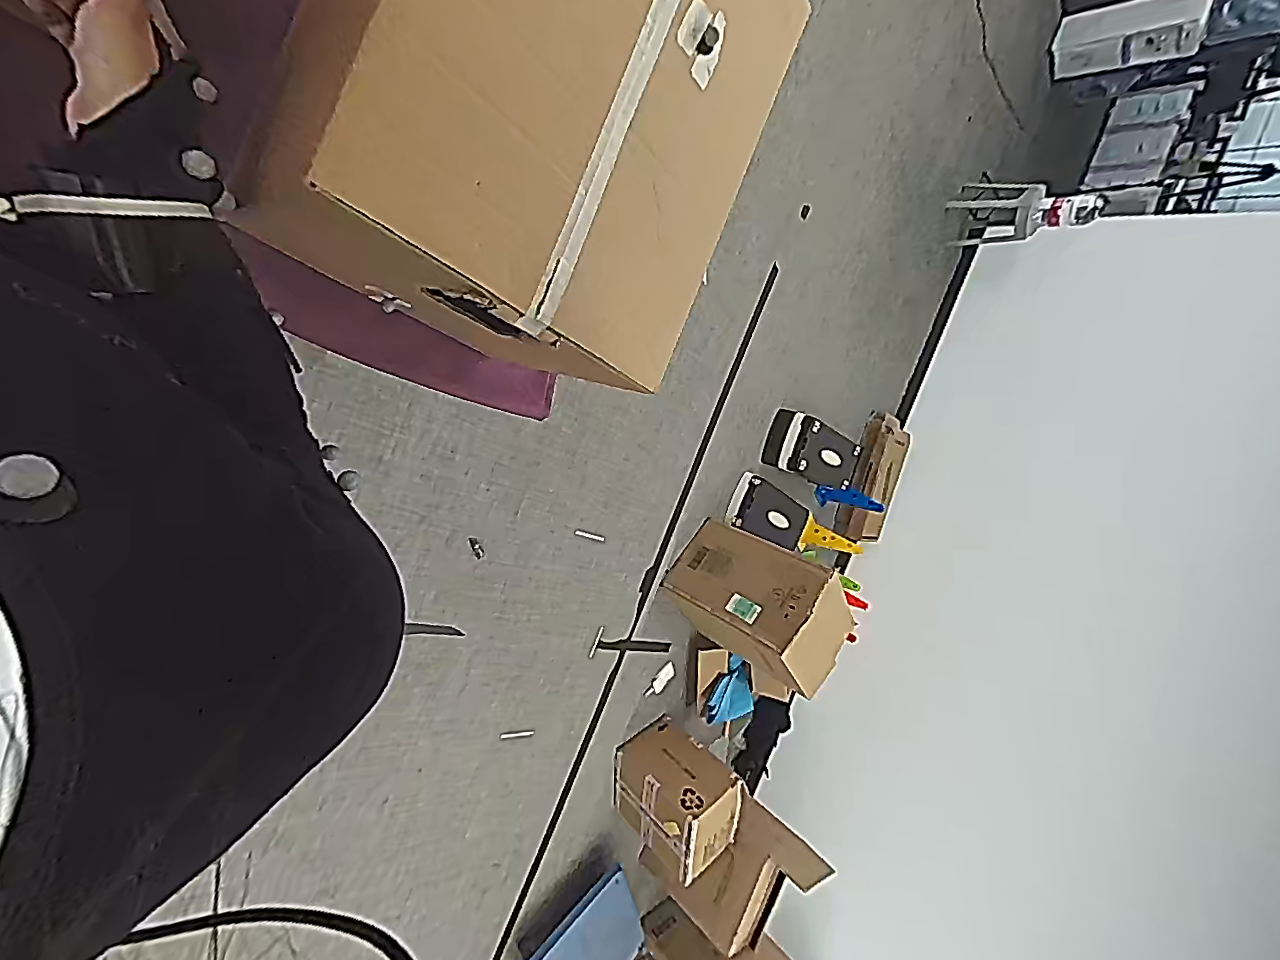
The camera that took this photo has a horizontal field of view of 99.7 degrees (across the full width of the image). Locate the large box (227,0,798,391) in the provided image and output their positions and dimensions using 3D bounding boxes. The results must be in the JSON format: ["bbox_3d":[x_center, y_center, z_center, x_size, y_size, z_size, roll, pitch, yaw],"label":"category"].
[{"bbox_3d":[-0.115,-0.339,0.503,0.320,0.320,0.408,22,89,-49],"label":"large box"}]
